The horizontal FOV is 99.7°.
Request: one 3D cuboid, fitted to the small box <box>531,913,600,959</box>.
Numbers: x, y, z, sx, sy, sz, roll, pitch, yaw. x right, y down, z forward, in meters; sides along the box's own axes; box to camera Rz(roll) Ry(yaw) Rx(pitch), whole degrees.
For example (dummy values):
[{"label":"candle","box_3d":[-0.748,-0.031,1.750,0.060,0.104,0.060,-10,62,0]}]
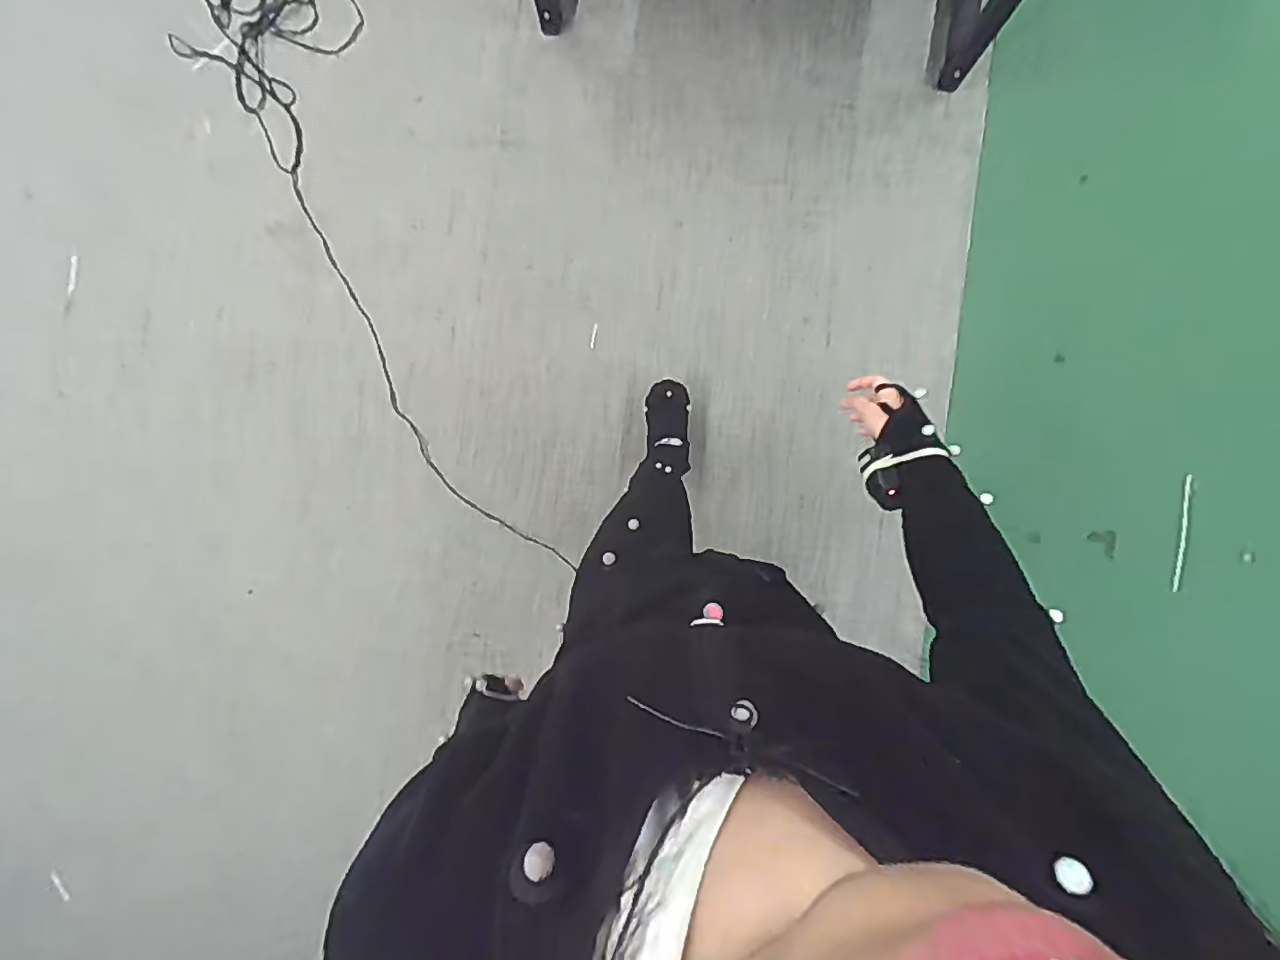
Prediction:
[{"label":"small box","box_3d":[-0.205,1.273,1.389,0.168,0.176,0.179,14,89,2]}]
